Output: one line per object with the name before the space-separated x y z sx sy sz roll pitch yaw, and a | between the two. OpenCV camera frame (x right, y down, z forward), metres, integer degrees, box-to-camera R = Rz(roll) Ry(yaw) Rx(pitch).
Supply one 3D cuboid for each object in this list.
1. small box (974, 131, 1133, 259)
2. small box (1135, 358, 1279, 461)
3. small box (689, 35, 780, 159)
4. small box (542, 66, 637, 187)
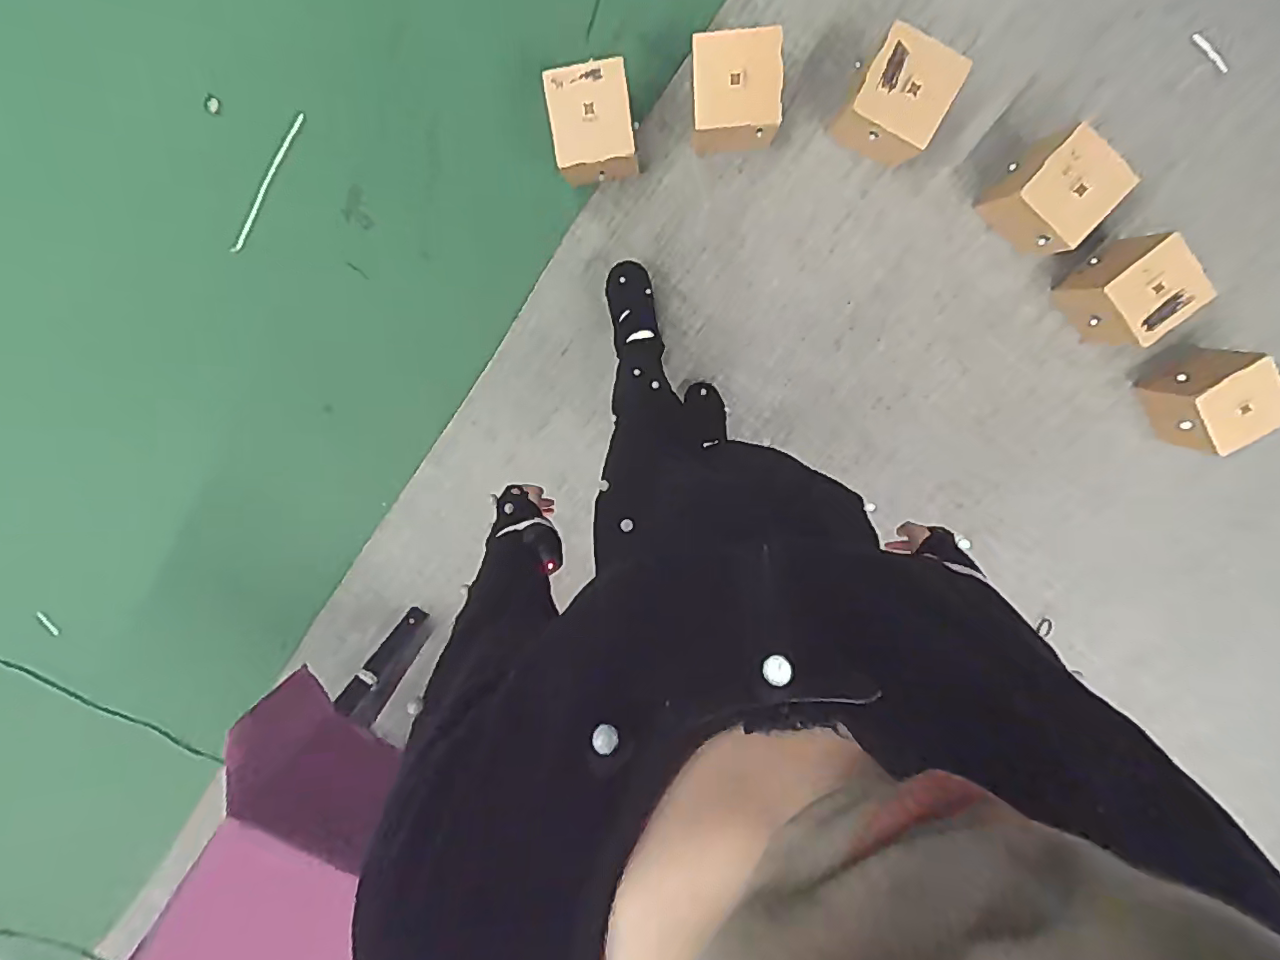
small box | 0.880 -0.601 1.169 0.179 0.176 0.168 38 104 -8
small box | 1.343 -0.174 1.282 0.168 0.176 0.179 -34 103 12
small box | 0.192 -0.798 1.144 0.179 0.176 0.168 -3 106 3
small box | -0.101 -0.749 1.170 0.168 0.176 0.179 -7 107 5
